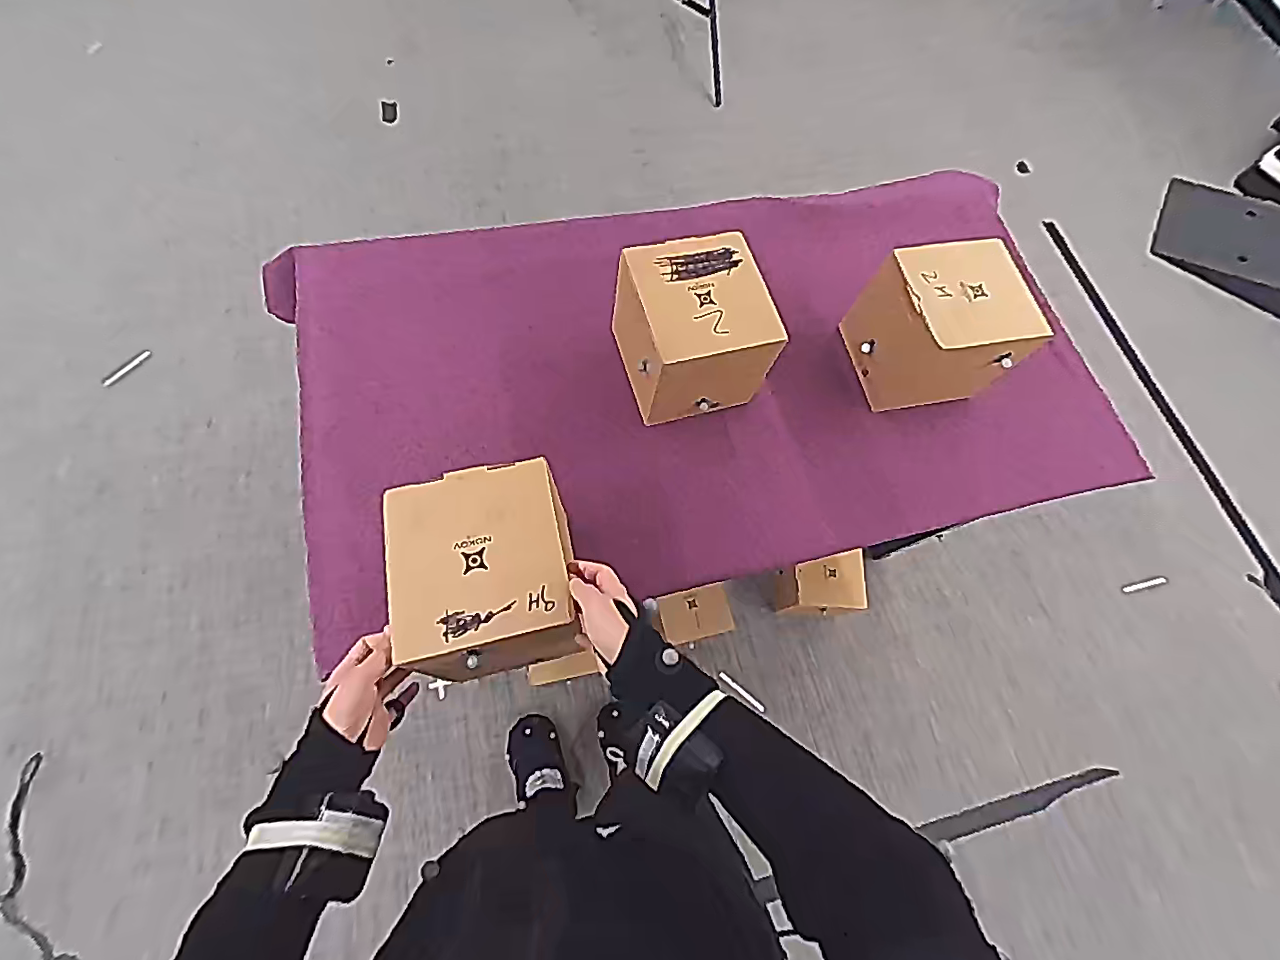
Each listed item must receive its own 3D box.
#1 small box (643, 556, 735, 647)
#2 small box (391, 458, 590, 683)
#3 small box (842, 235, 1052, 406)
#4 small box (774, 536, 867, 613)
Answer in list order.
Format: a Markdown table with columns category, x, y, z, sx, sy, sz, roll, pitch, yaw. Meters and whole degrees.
| category | x | y | z | sx | sy | sz | roll | pitch | yaw |
| --- | --- | --- | --- | --- | --- | --- | --- | --- | --- |
| small box | 0.113 | 0.305 | 1.339 | 0.168 | 0.176 | 0.179 | -12 | 72 | -11 |
| small box | -0.153 | 0.103 | 0.584 | 0.168 | 0.176 | 0.179 | -12 | 64 | -7 |
| small box | 0.431 | -0.226 | 0.791 | 0.179 | 0.176 | 0.168 | -10 | 70 | -10 |
| small box | 0.460 | 0.250 | 1.401 | 0.179 | 0.176 | 0.168 | 4 | 70 | -4 |
